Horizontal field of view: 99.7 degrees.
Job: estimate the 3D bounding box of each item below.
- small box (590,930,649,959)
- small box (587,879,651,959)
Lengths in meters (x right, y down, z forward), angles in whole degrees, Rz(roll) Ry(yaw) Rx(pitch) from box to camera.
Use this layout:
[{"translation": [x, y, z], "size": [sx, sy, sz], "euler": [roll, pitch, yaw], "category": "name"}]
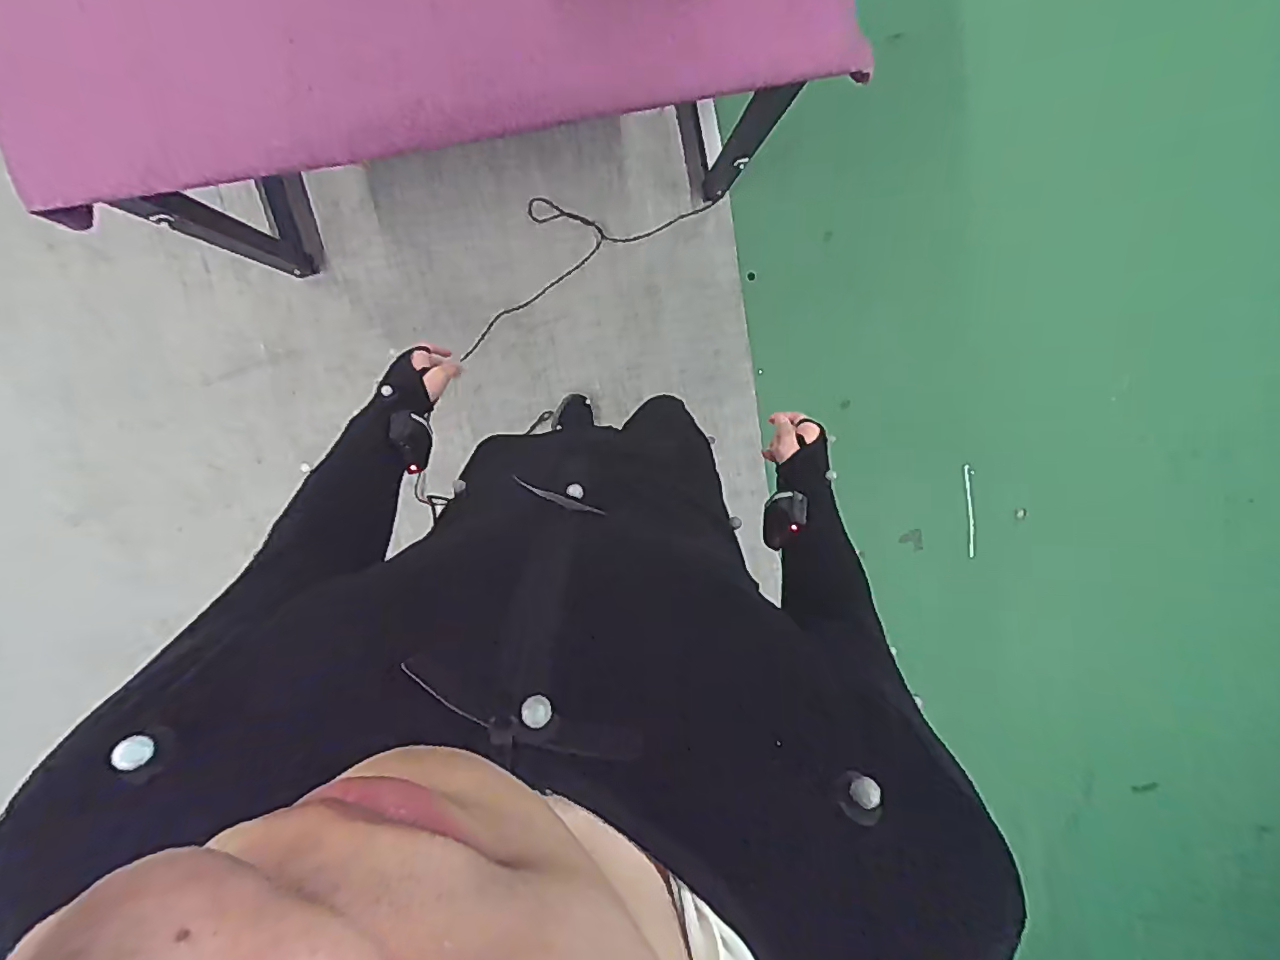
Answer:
[{"translation": [-0.054, 1.509, 1.630], "size": [0.168, 0.176, 0.179], "euler": [-15, 102, -3], "category": "small box"}, {"translation": [-0.070, 1.481, 1.790], "size": [0.168, 0.176, 0.179], "euler": [-18, 101, -3], "category": "small box"}]
